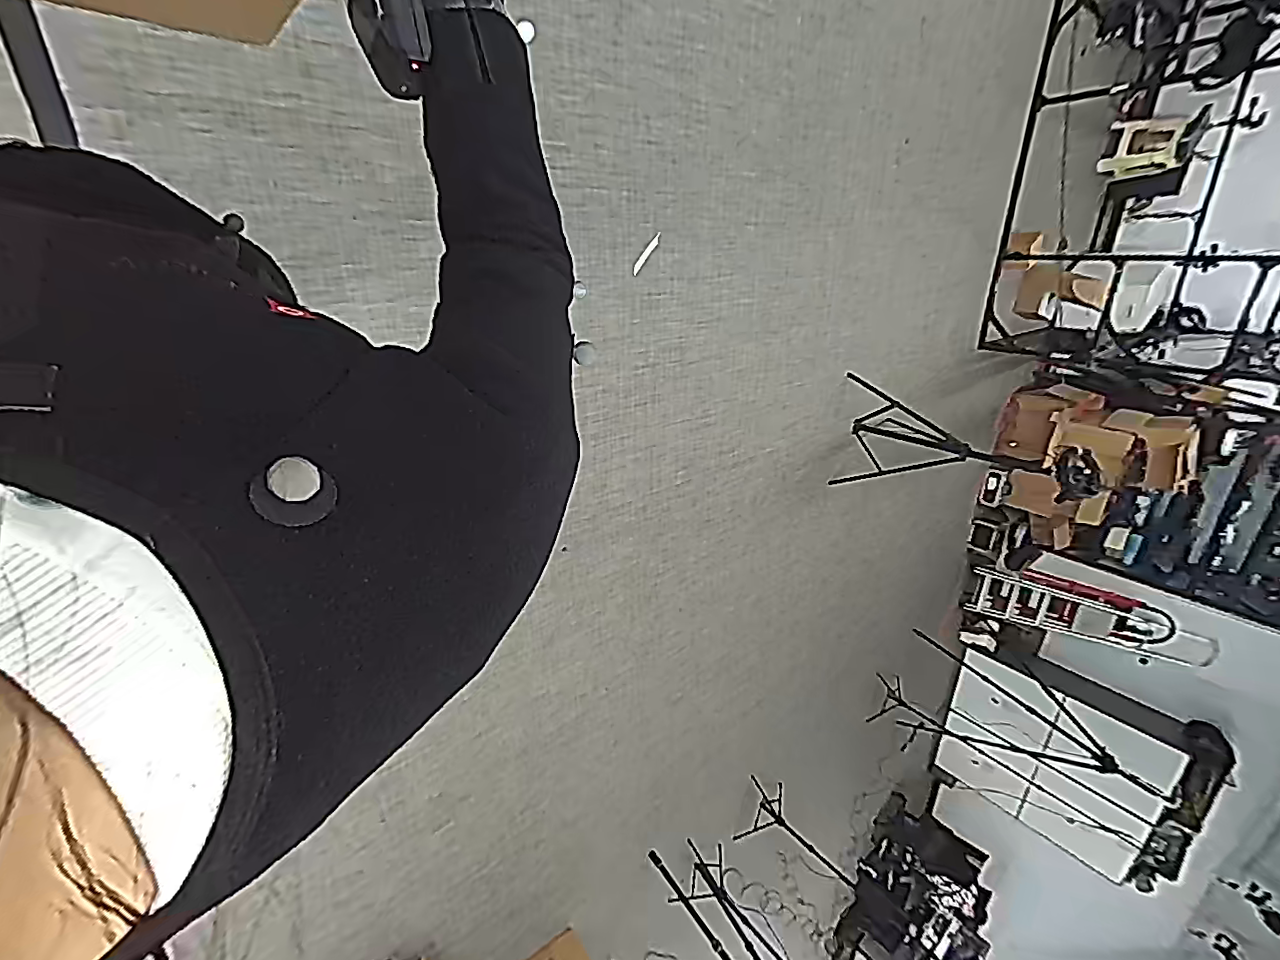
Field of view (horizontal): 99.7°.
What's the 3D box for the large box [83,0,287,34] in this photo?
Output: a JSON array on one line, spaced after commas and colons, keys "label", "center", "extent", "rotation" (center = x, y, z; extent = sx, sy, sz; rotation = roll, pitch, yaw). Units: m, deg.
[{"label": "large box", "center": [-0.402, -0.448, 0.223], "extent": [0.408, 0.320, 0.320], "rotation": [-17, 123, -36]}]
